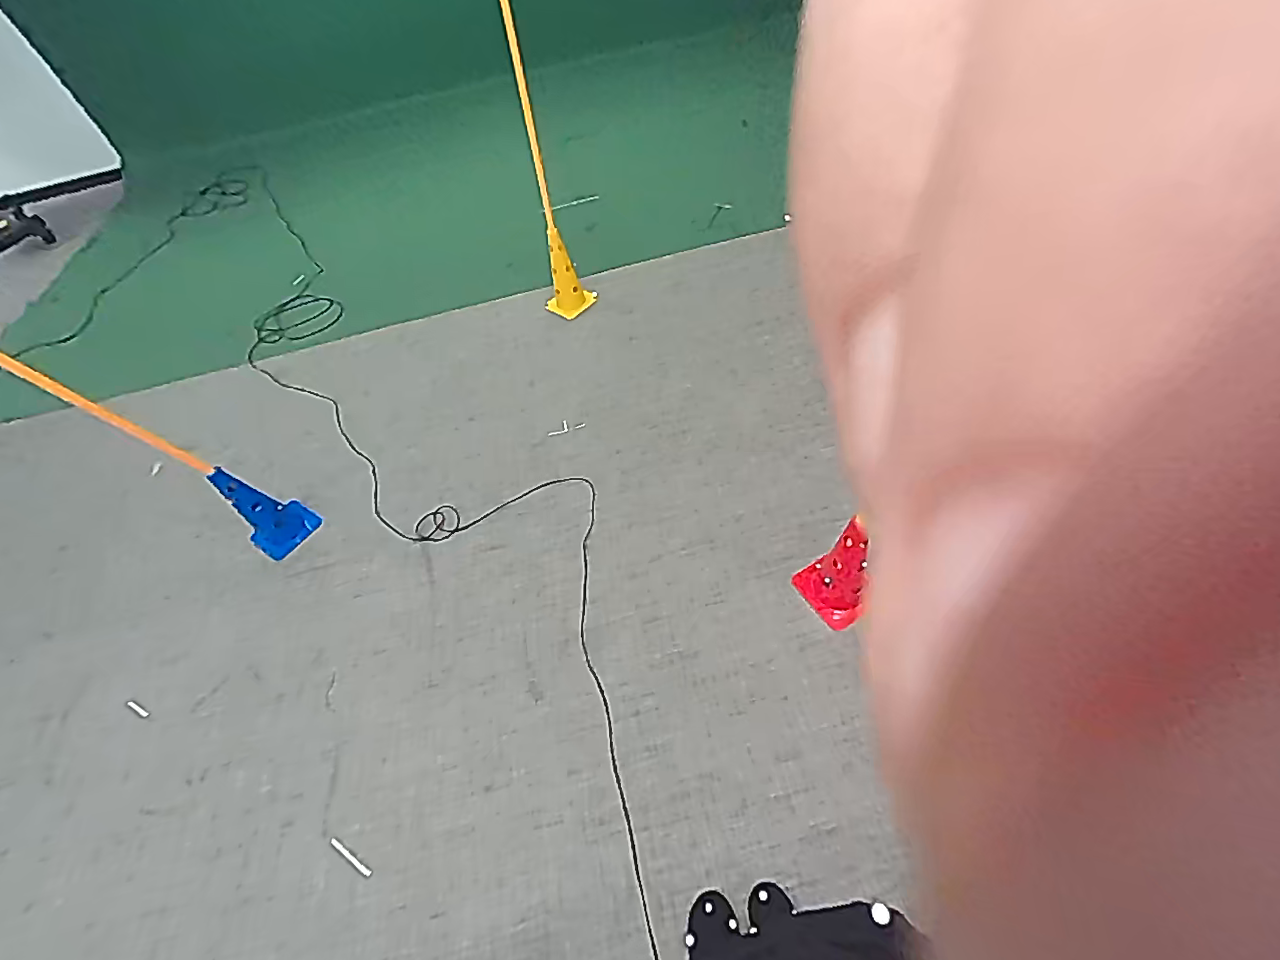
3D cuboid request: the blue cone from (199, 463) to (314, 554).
[{"bbox_3d":[-1.298,0.071,1.795,0.192,0.380,0.193,24,62,23],"label":"blue cone"}]
